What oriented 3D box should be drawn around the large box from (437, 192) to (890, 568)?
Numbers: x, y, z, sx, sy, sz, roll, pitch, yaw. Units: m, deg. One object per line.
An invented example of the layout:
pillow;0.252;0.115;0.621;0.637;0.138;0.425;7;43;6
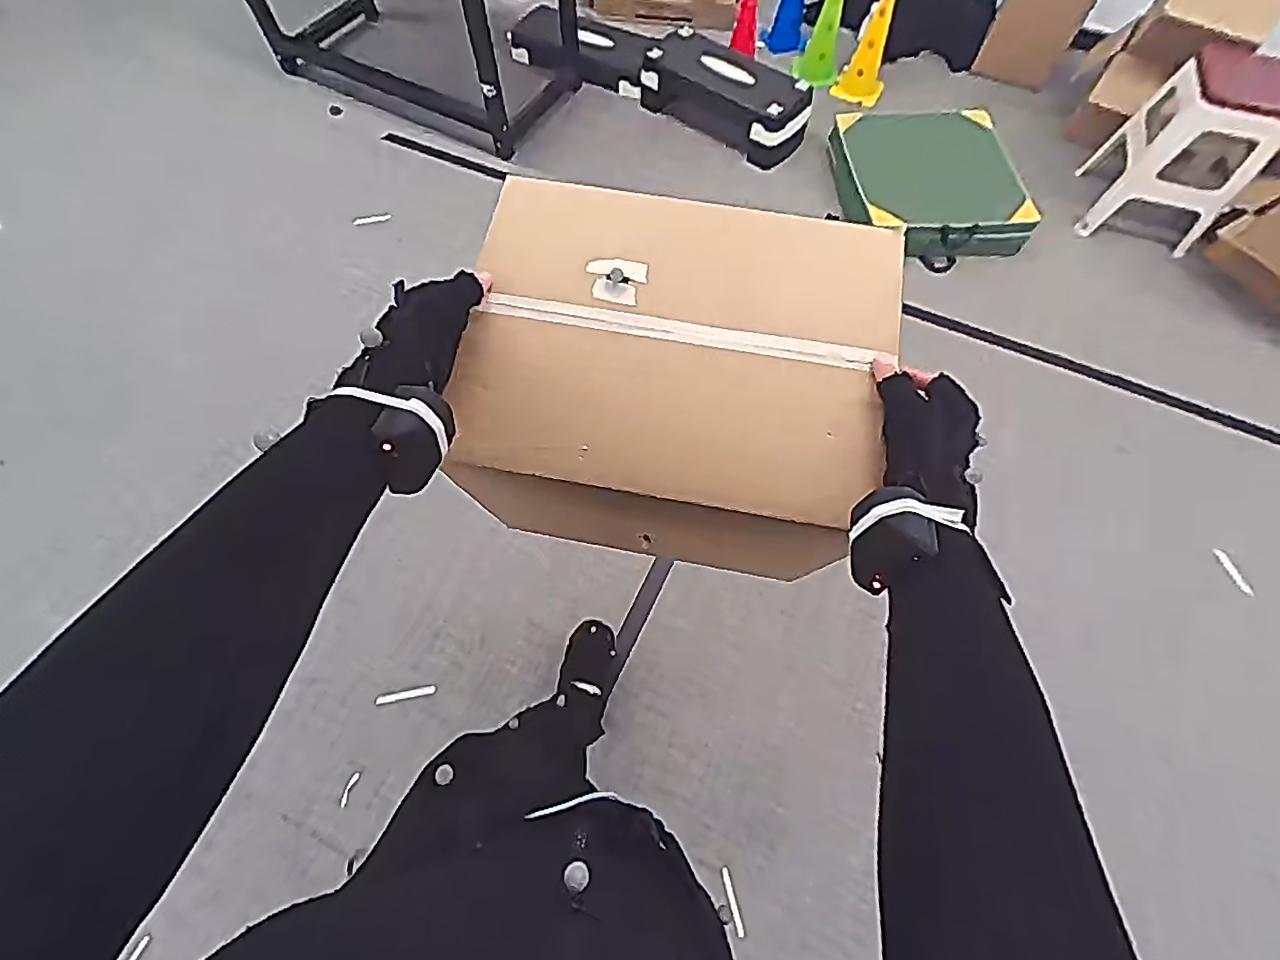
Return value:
large box;0.040;-0.091;0.663;0.408;0.320;0.320;10;72;5
